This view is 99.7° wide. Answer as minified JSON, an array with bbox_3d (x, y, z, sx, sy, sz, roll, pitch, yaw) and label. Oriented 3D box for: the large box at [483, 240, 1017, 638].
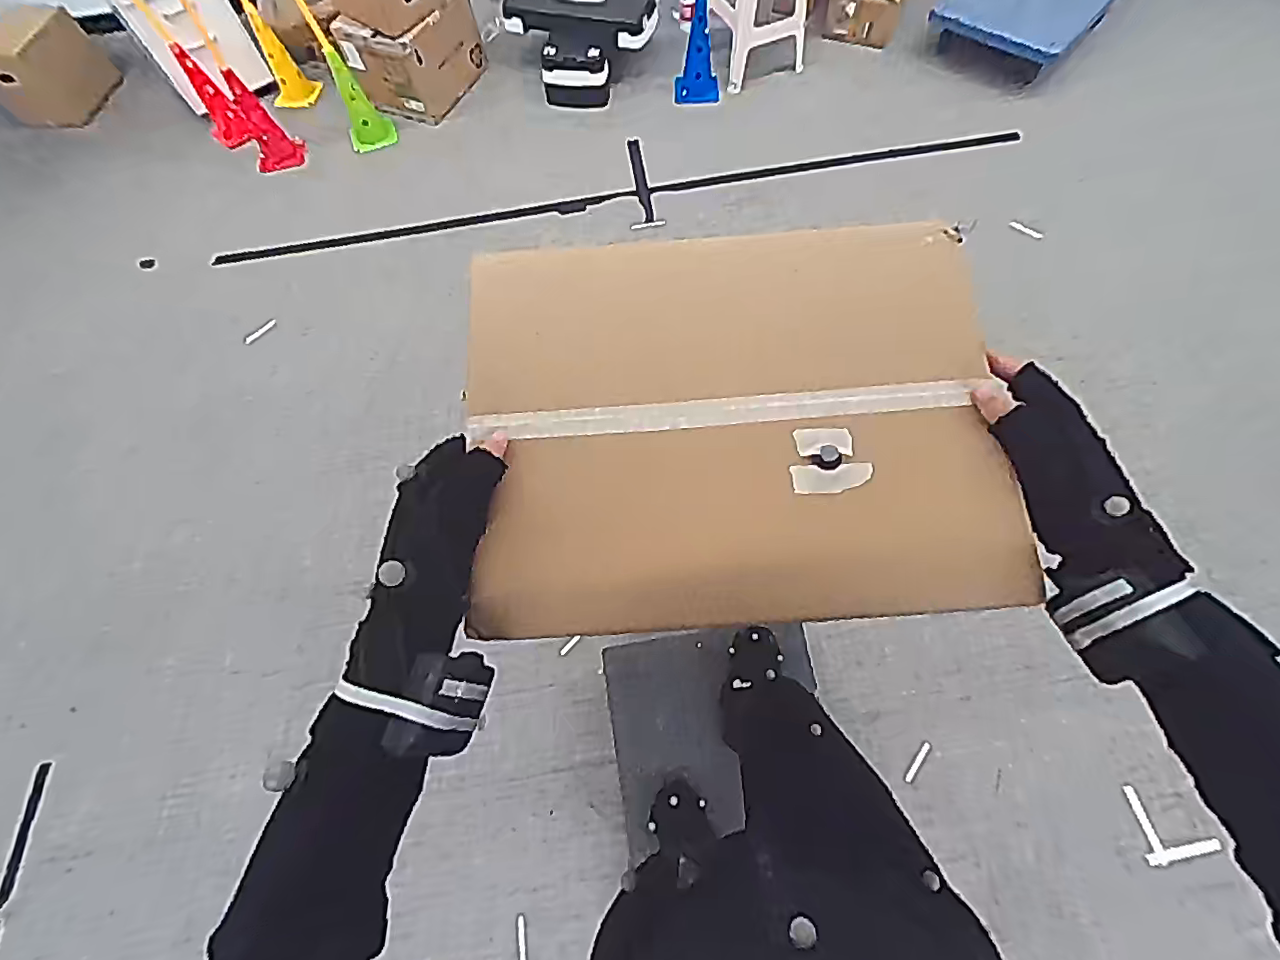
[{"bbox_3d":[0.073,-0.009,0.579,0.408,0.320,0.320,-4,76,0],"label":"large box"}]
